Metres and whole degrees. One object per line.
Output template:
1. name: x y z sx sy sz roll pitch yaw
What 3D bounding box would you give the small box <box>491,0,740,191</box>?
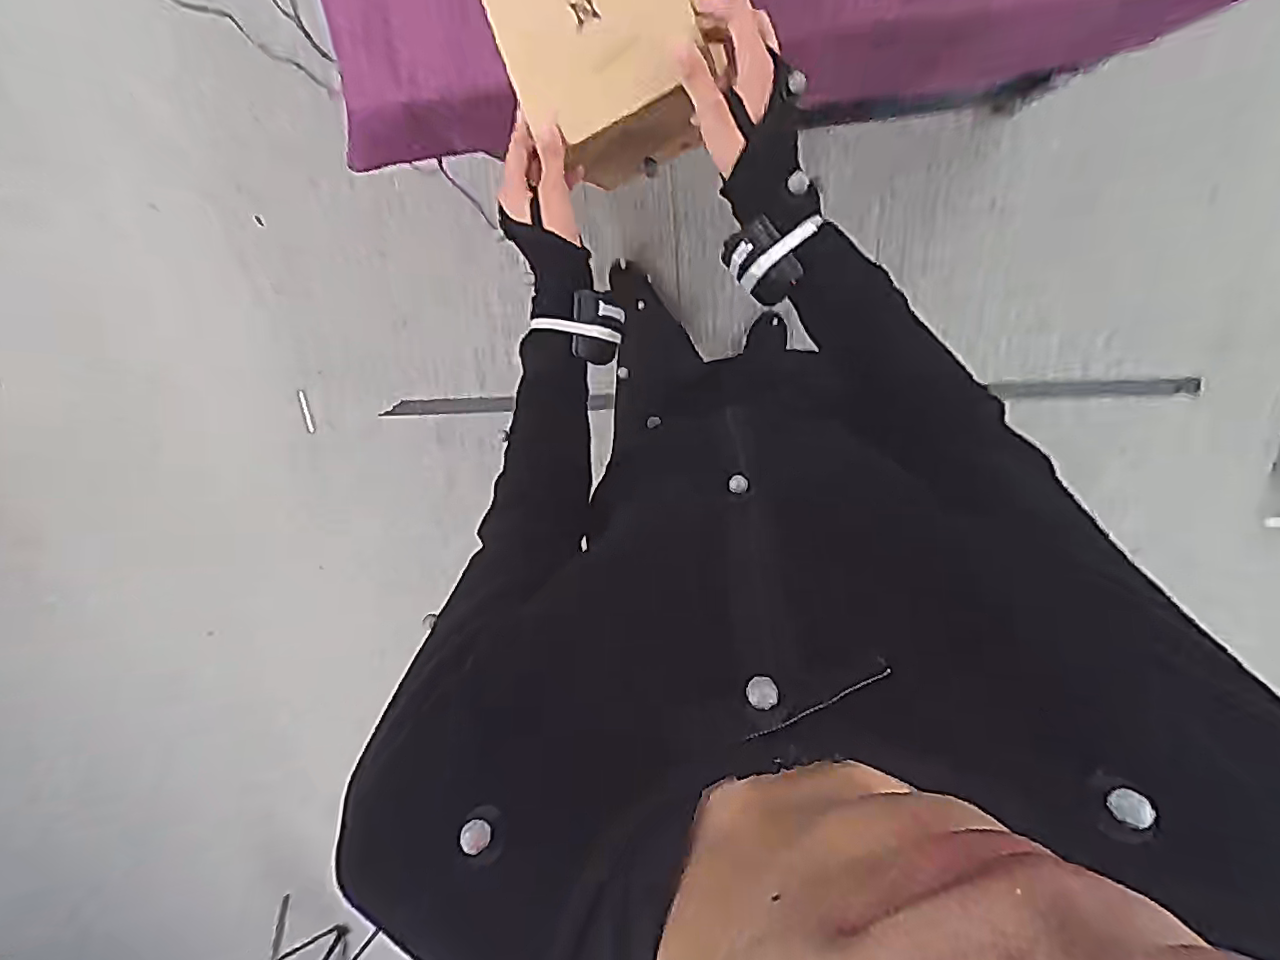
1. small box: -0.015 -0.410 0.517 0.168 0.176 0.179 -14 102 24
